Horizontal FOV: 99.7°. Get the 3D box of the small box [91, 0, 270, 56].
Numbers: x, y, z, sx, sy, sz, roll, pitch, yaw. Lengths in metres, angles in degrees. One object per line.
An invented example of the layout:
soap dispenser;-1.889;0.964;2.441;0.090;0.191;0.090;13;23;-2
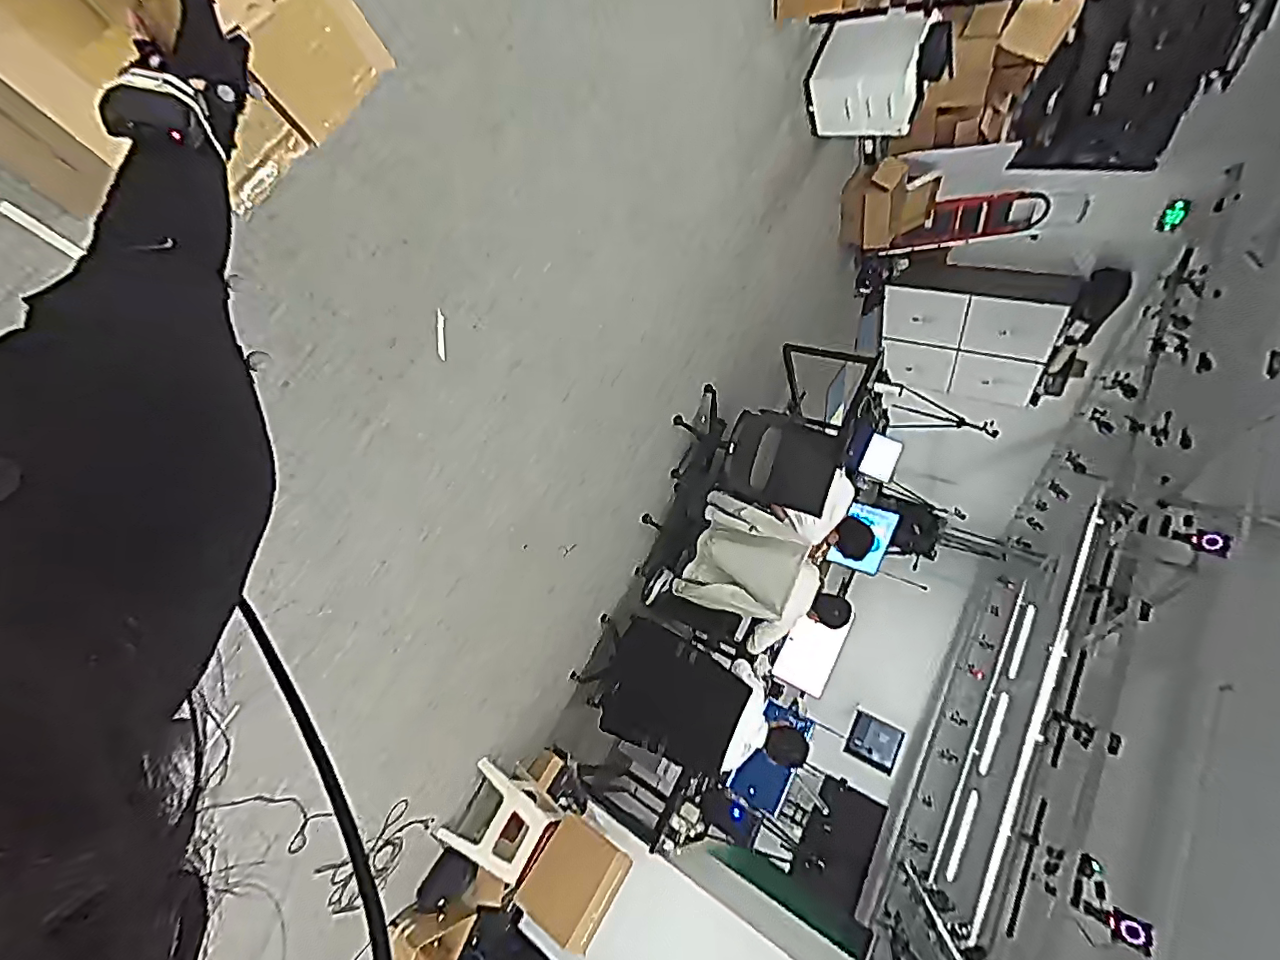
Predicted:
small box;-0.471;-0.544;0.509;0.168;0.176;0.179;-53;148;-15
